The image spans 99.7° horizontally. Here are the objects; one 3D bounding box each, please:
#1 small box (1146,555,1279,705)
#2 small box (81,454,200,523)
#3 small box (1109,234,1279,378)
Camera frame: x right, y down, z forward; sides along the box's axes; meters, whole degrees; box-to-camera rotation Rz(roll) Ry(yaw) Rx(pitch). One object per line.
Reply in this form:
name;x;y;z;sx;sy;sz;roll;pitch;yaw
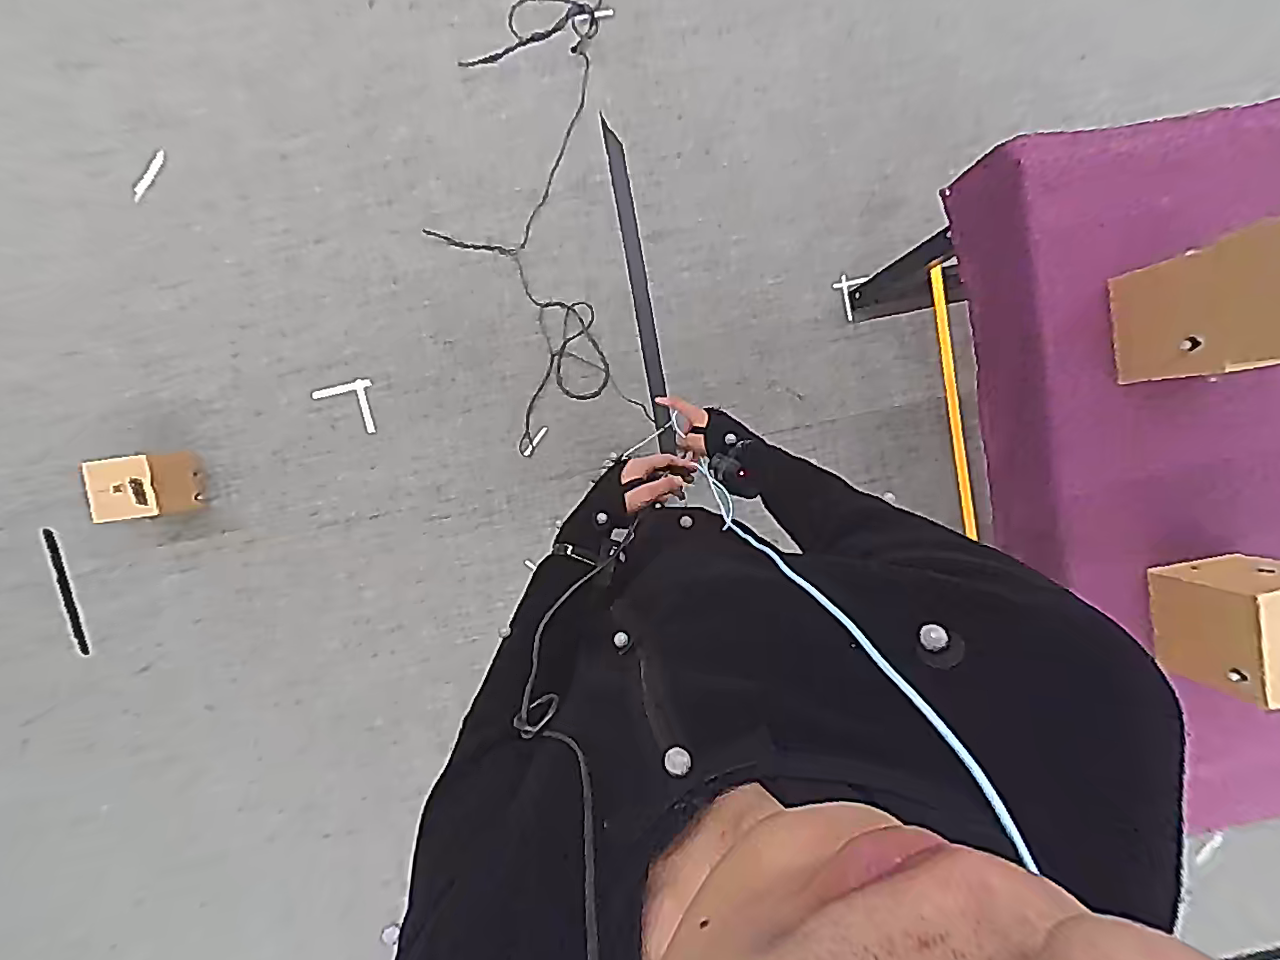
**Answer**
small box;0.961;0.224;0.859;0.168;0.176;0.179;-10;95;-2
small box;-1.375;0.018;1.507;0.179;0.176;0.168;-8;94;0
small box;0.863;-0.253;0.818;0.168;0.176;0.179;-9;95;-2
